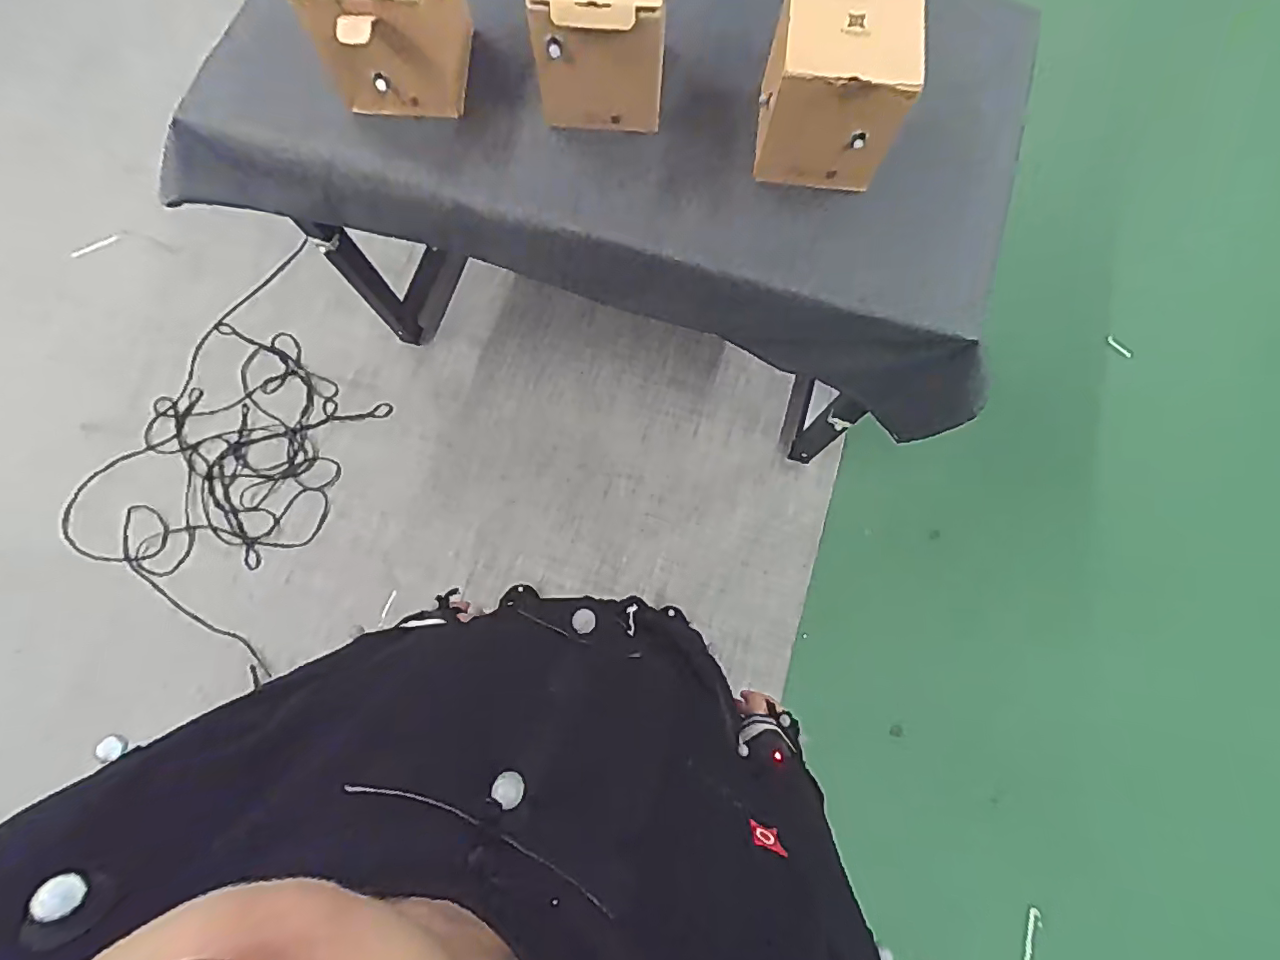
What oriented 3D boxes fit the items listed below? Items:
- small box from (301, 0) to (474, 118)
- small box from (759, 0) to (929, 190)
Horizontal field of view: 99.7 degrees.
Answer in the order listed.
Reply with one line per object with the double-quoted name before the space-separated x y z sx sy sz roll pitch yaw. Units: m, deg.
"small box" -0.336 -0.645 0.744 0.168 0.176 0.179 3 77 -1
"small box" 0.261 -0.524 0.723 0.168 0.176 0.179 7 76 0
